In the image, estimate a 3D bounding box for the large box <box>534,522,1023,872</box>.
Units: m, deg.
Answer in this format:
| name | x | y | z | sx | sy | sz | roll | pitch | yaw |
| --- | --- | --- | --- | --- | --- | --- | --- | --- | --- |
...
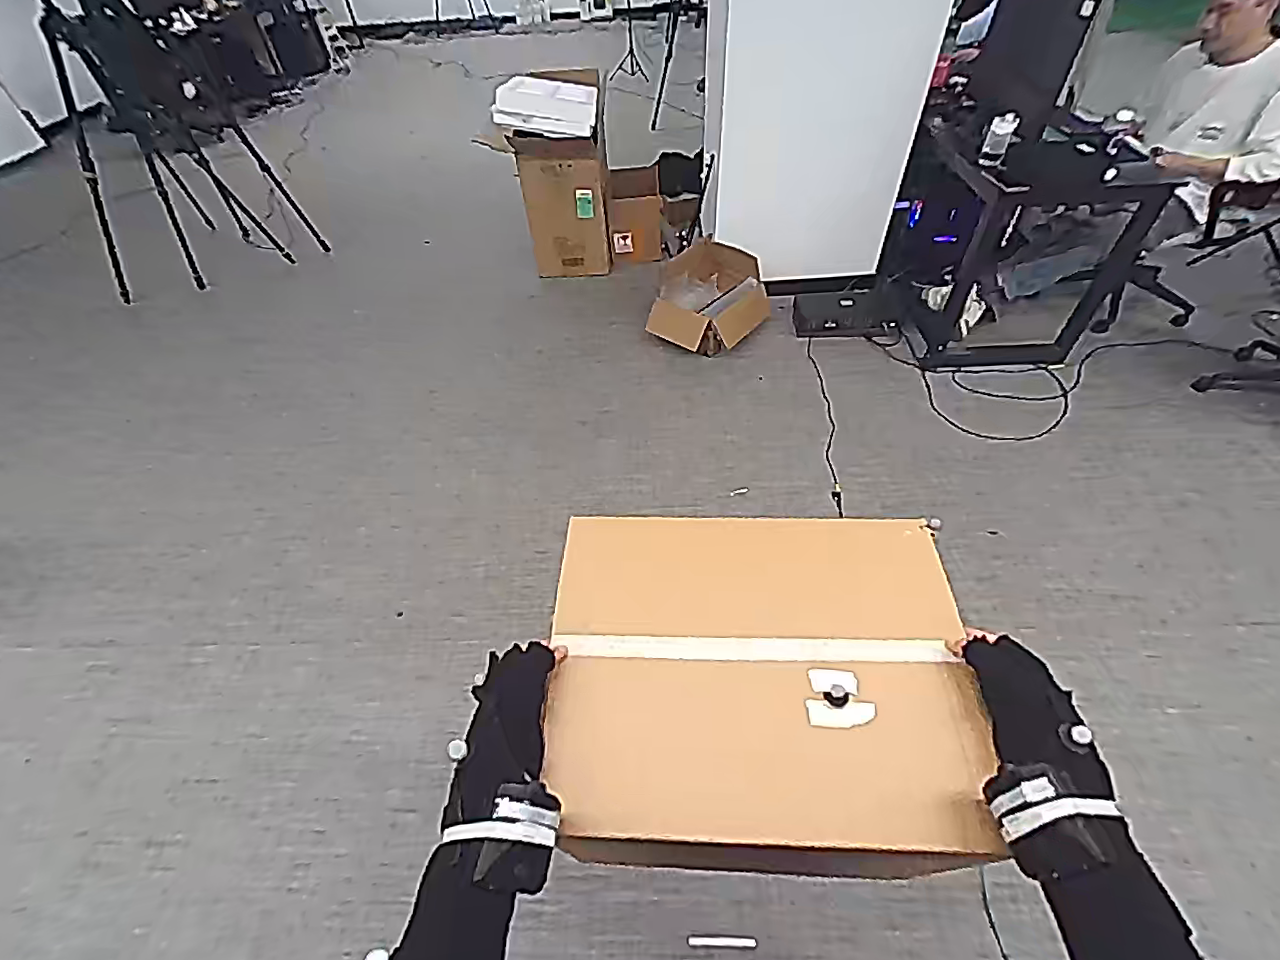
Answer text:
| name | x | y | z | sx | sy | sz | roll | pitch | yaw |
| --- | --- | --- | --- | --- | --- | --- | --- | --- | --- |
| large box | 0.117 | 0.262 | 0.644 | 0.408 | 0.320 | 0.320 | 0 | 51 | 3 |
